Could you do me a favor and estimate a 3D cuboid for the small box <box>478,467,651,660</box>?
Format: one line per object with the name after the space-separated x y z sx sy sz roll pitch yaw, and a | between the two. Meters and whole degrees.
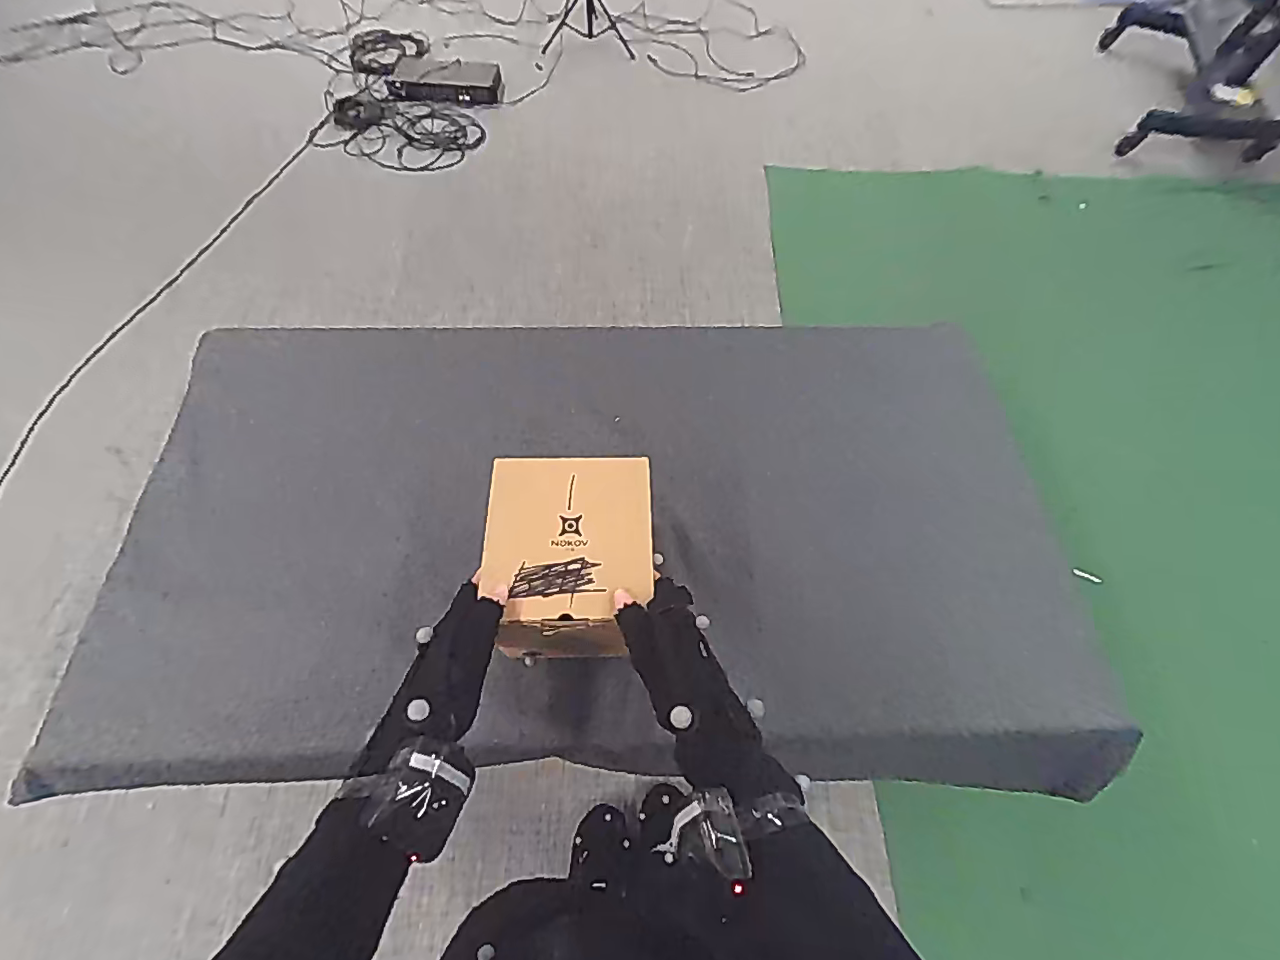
-0.072 0.101 0.609 0.168 0.176 0.179 0 60 -2 | small box
